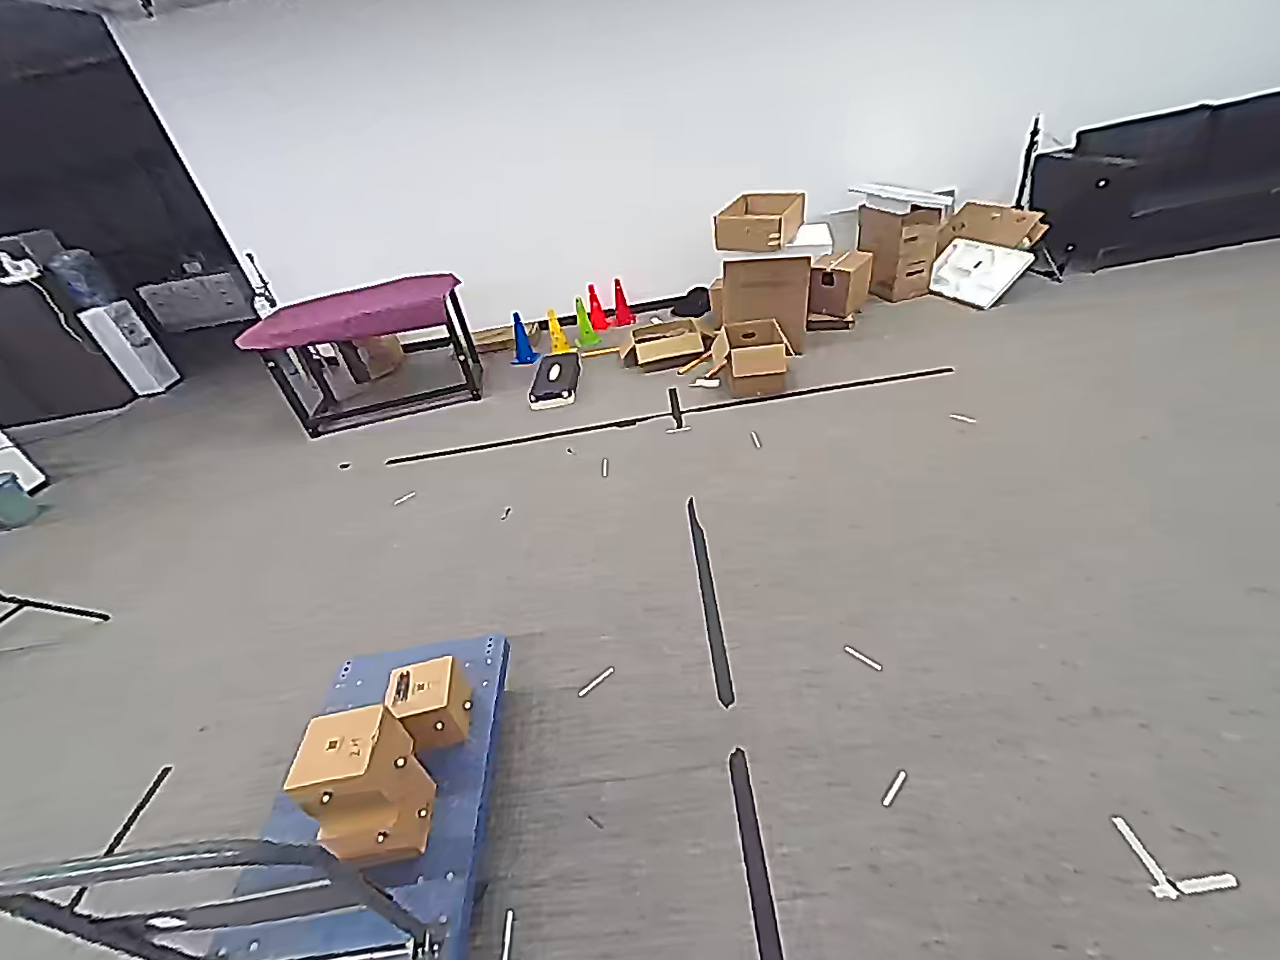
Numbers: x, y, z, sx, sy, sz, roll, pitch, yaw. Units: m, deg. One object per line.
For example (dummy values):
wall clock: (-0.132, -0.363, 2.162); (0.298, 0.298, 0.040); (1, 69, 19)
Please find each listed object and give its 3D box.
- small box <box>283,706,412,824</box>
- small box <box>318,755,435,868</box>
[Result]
small box: (-0.645, 0.644, 1.217); (0.179, 0.176, 0.168); (-11, 35, -1)
small box: (-0.617, 0.792, 1.289); (0.179, 0.176, 0.168); (-11, 34, -1)
